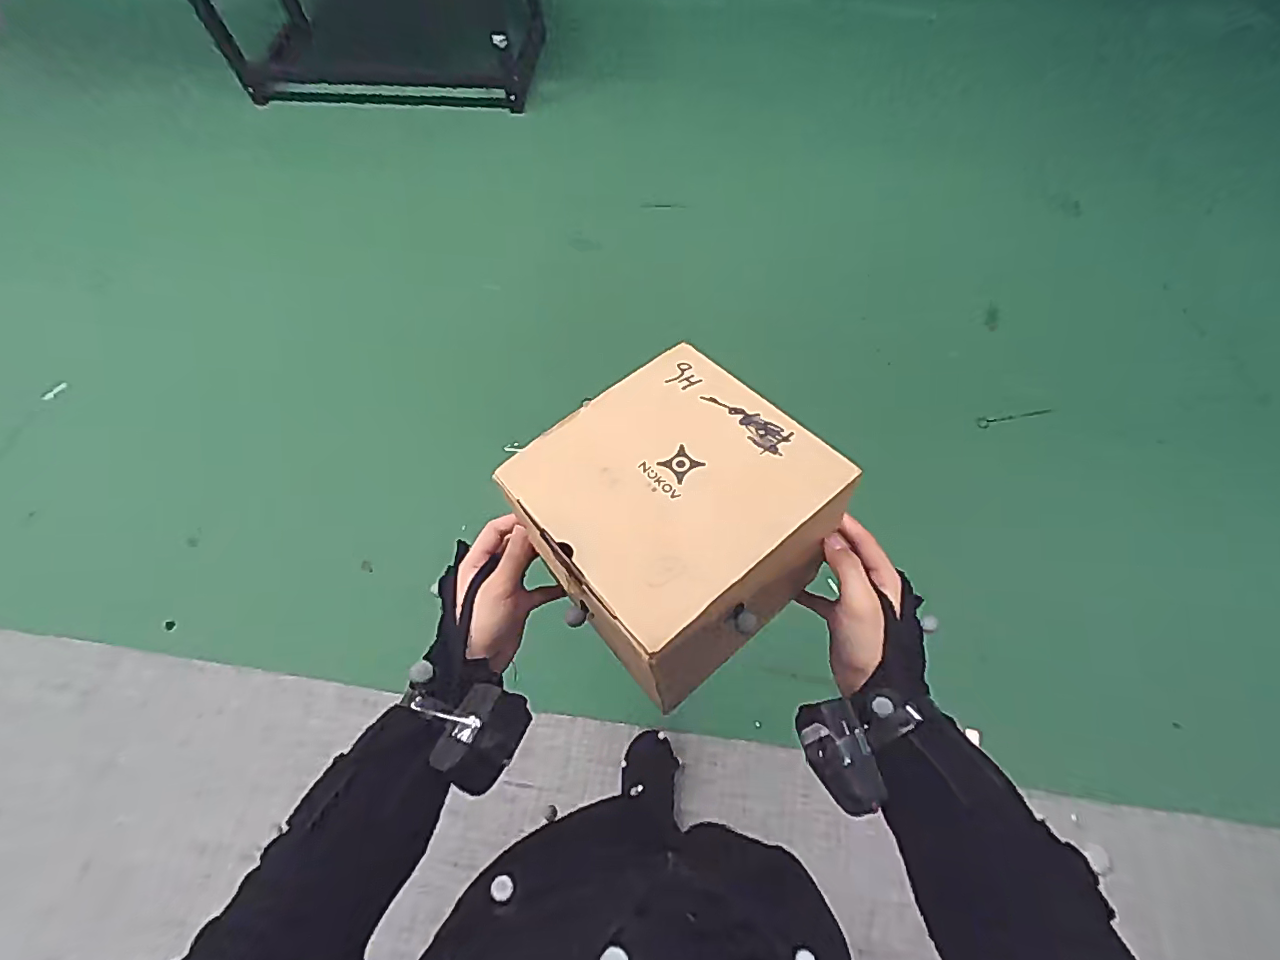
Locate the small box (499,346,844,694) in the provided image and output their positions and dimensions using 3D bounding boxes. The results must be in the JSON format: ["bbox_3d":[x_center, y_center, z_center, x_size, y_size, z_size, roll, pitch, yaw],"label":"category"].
[{"bbox_3d":[0.026,0.037,0.424,0.179,0.176,0.168,-37,61,-17],"label":"small box"}]
